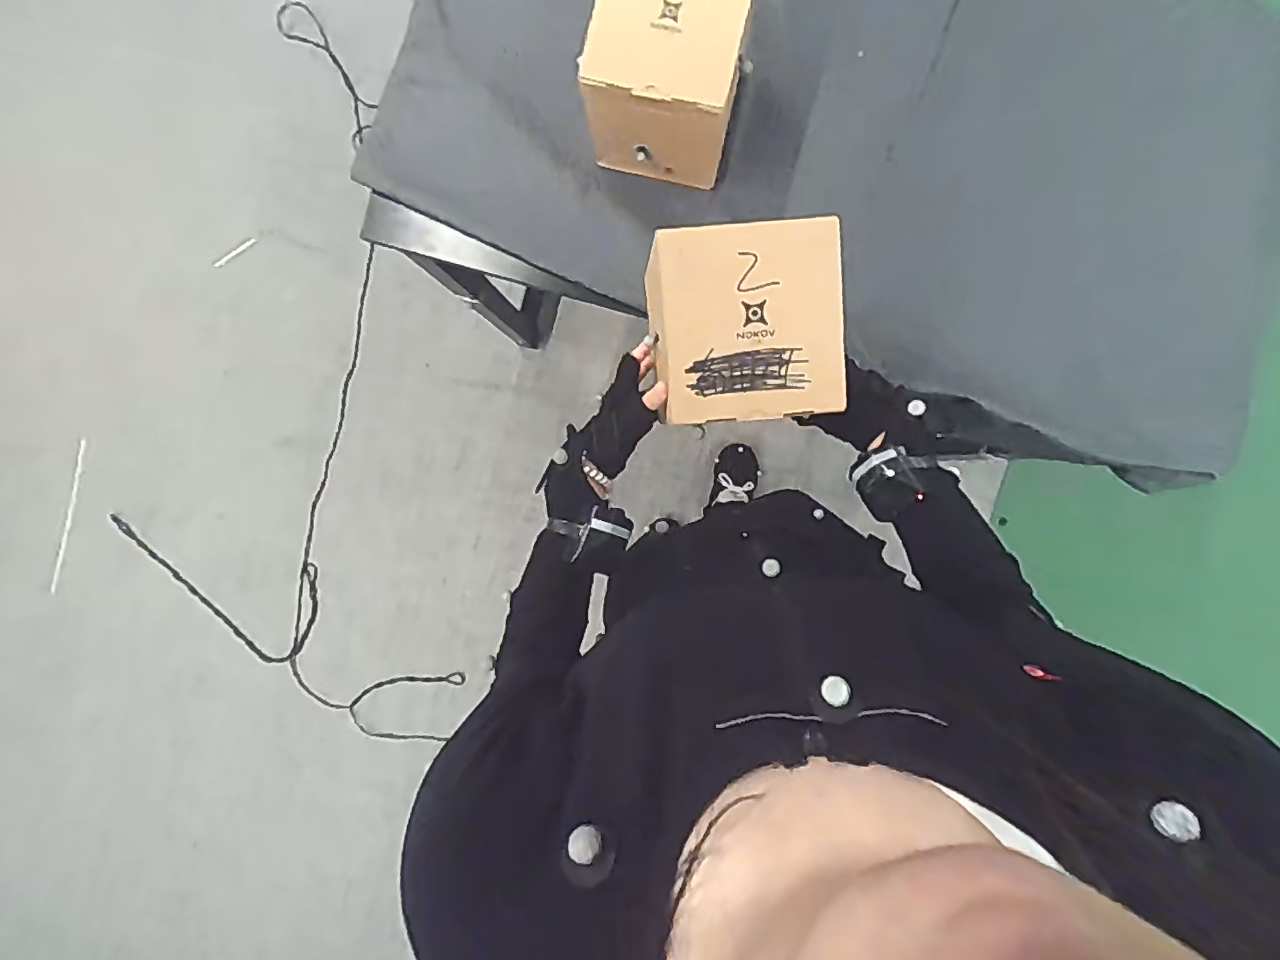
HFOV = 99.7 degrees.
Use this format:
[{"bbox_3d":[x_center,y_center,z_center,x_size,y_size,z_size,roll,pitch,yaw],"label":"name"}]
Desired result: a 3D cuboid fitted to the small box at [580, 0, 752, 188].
[{"bbox_3d":[0.033,-0.506,0.673,0.168,0.176,0.179,14,93,2],"label":"small box"}]
